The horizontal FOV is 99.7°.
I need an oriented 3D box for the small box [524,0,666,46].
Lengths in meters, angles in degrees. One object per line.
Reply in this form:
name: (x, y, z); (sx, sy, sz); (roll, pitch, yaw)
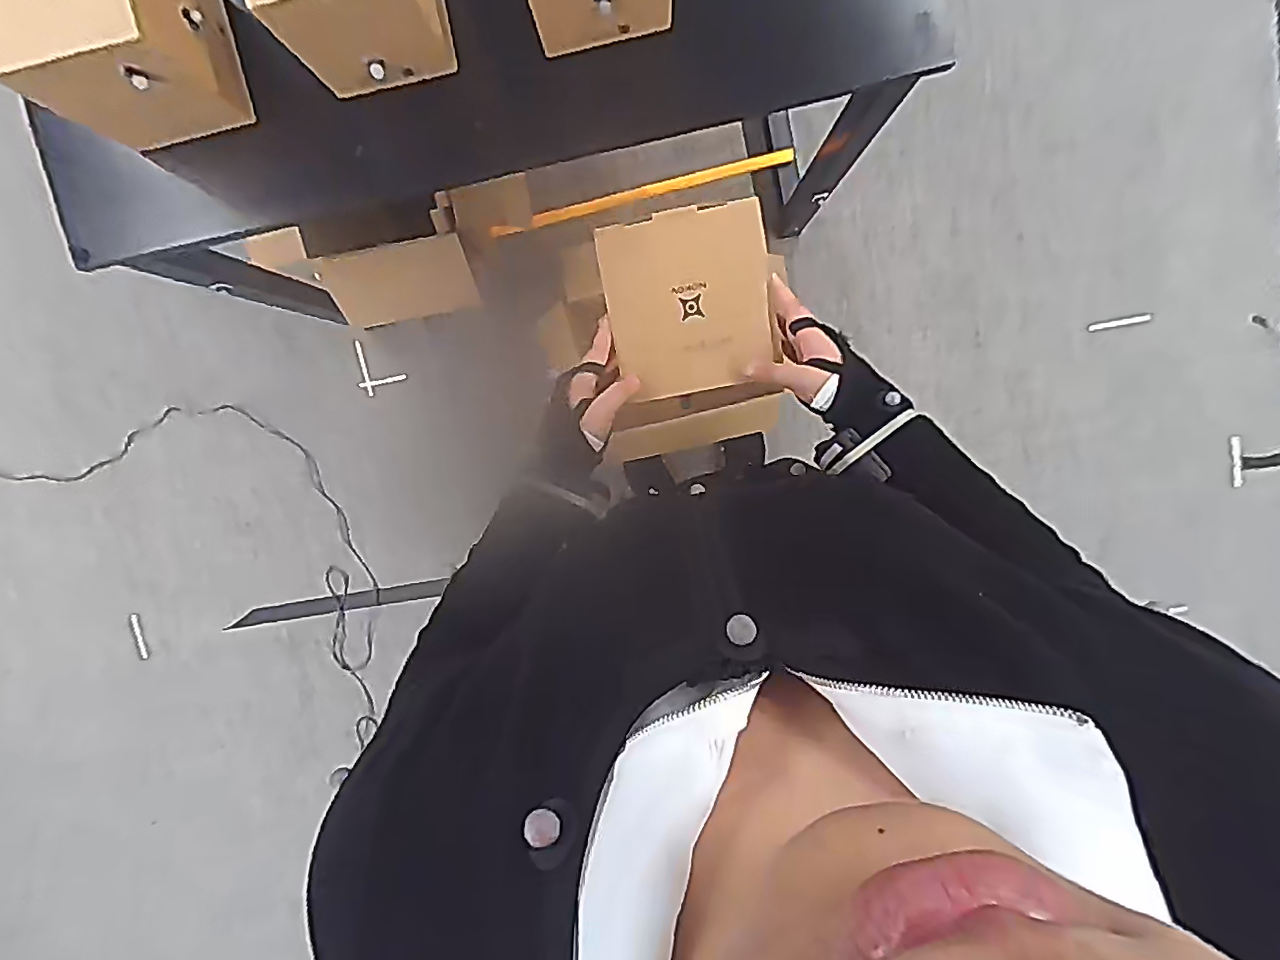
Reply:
small box: (-0.065, -0.632, 0.604); (0.168, 0.176, 0.179); (-11, 97, 4)

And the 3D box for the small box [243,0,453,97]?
small box: (-0.337, -0.589, 0.618); (0.168, 0.176, 0.179); (-10, 97, 4)

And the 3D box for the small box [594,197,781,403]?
small box: (0.048, -0.188, 0.618); (0.168, 0.176, 0.179); (-11, 98, 2)

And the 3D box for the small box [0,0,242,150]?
small box: (-0.614, -0.525, 0.634); (0.179, 0.176, 0.168); (-12, 96, 3)
